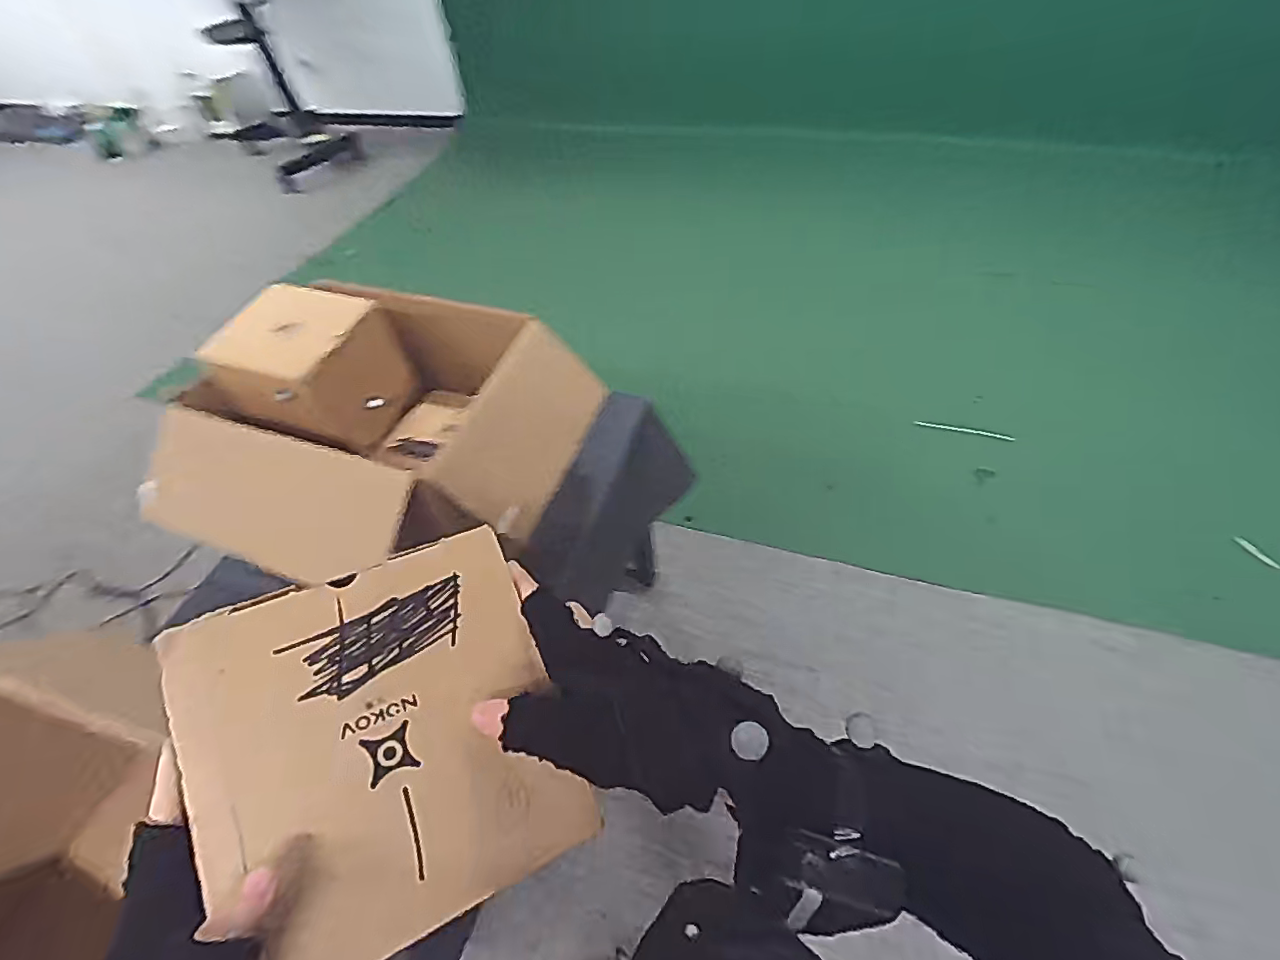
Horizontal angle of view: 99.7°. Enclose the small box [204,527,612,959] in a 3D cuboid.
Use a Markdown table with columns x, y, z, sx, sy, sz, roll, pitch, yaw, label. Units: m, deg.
| x | y | z | sx | sy | sz | roll | pitch | yaw | label |
| --- | --- | --- | --- | --- | --- | --- | --- | --- | --- |
| -0.138 | 0.154 | 0.348 | 0.168 | 0.176 | 0.179 | -16 | 73 | -22 | small box |
